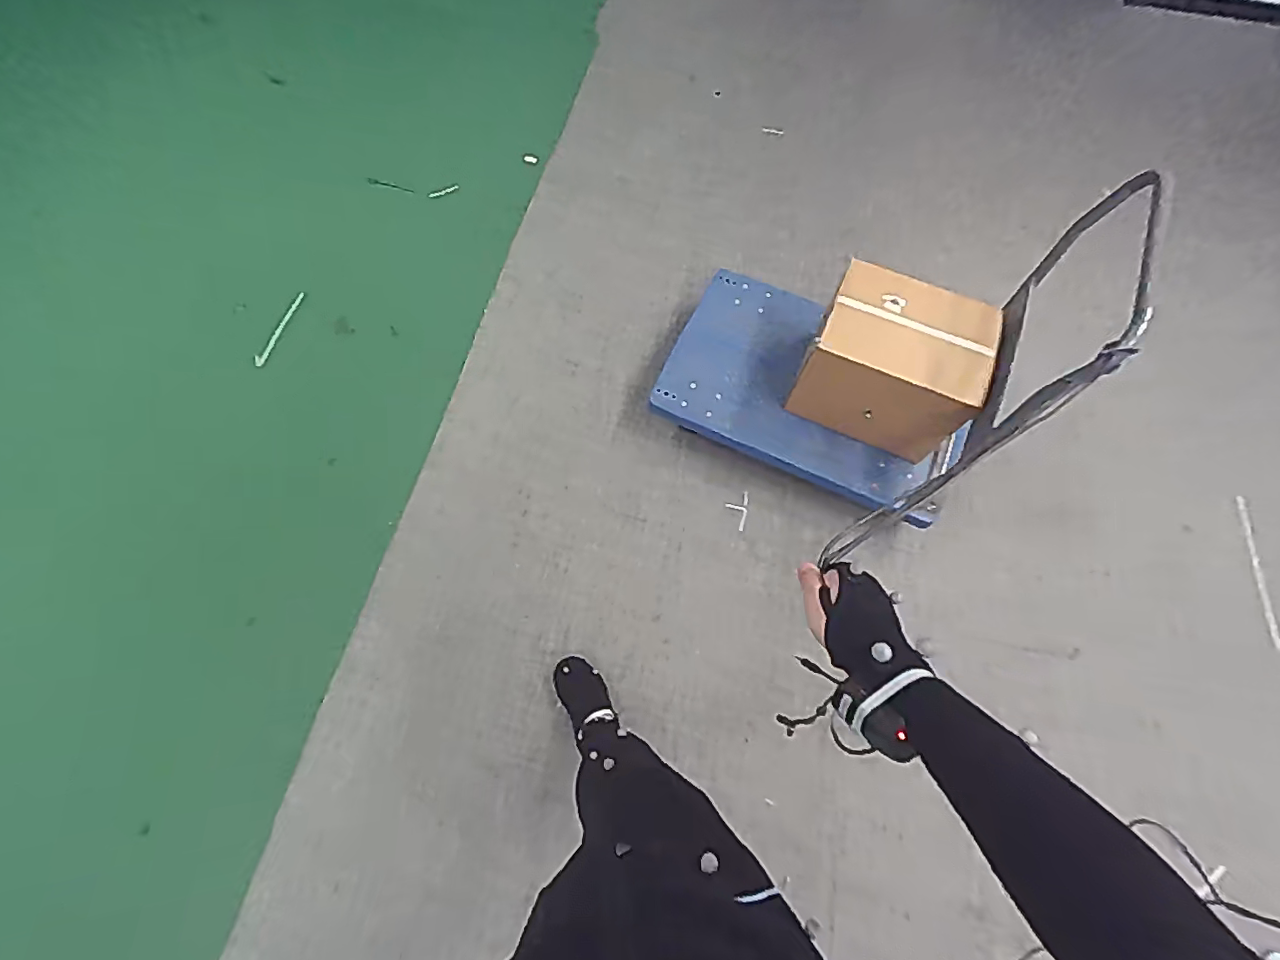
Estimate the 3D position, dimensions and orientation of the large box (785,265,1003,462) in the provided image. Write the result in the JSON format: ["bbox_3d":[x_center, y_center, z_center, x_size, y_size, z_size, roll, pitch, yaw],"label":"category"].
[{"bbox_3d":[0.660,-0.300,1.453,0.408,0.320,0.320,23,68,10],"label":"large box"}]
